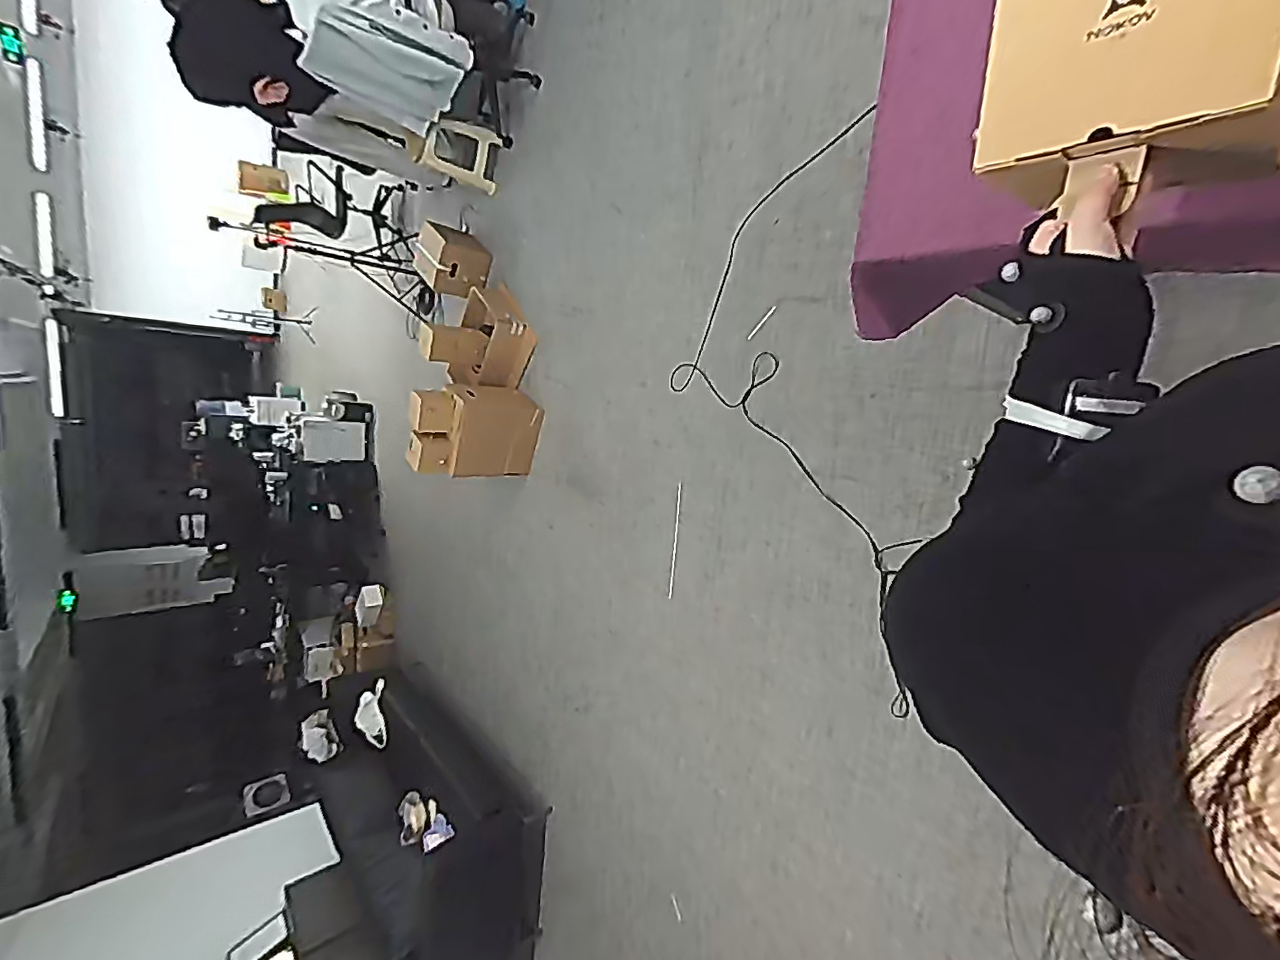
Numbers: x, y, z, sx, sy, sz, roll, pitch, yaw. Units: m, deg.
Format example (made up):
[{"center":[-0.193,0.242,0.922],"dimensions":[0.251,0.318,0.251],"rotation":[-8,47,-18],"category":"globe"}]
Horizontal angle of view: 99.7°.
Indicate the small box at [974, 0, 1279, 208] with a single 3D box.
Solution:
[{"center":[0.401,-0.341,0.433],"dimensions":[0.168,0.176,0.179],"rotation":[16,109,49],"category":"small box"}]
